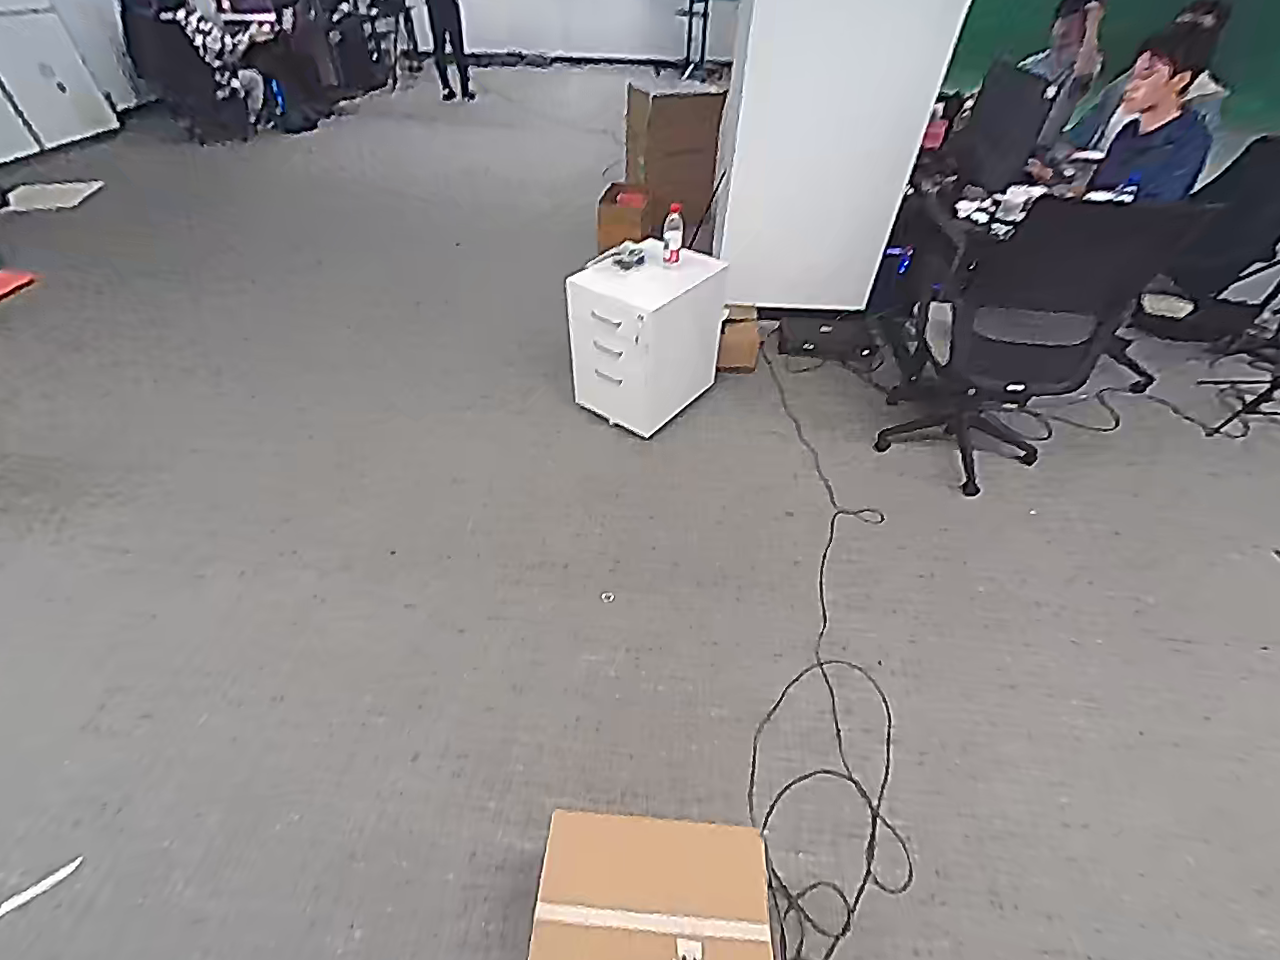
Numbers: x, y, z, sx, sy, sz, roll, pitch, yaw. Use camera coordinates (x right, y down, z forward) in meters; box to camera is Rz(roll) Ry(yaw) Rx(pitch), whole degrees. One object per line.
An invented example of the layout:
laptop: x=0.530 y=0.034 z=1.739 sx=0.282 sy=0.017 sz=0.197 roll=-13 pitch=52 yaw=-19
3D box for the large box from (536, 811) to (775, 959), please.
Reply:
large box: x=0.027 y=0.868 z=1.035 sx=0.408 sy=0.320 sz=0.320 roll=3 pitch=44 yaw=3
